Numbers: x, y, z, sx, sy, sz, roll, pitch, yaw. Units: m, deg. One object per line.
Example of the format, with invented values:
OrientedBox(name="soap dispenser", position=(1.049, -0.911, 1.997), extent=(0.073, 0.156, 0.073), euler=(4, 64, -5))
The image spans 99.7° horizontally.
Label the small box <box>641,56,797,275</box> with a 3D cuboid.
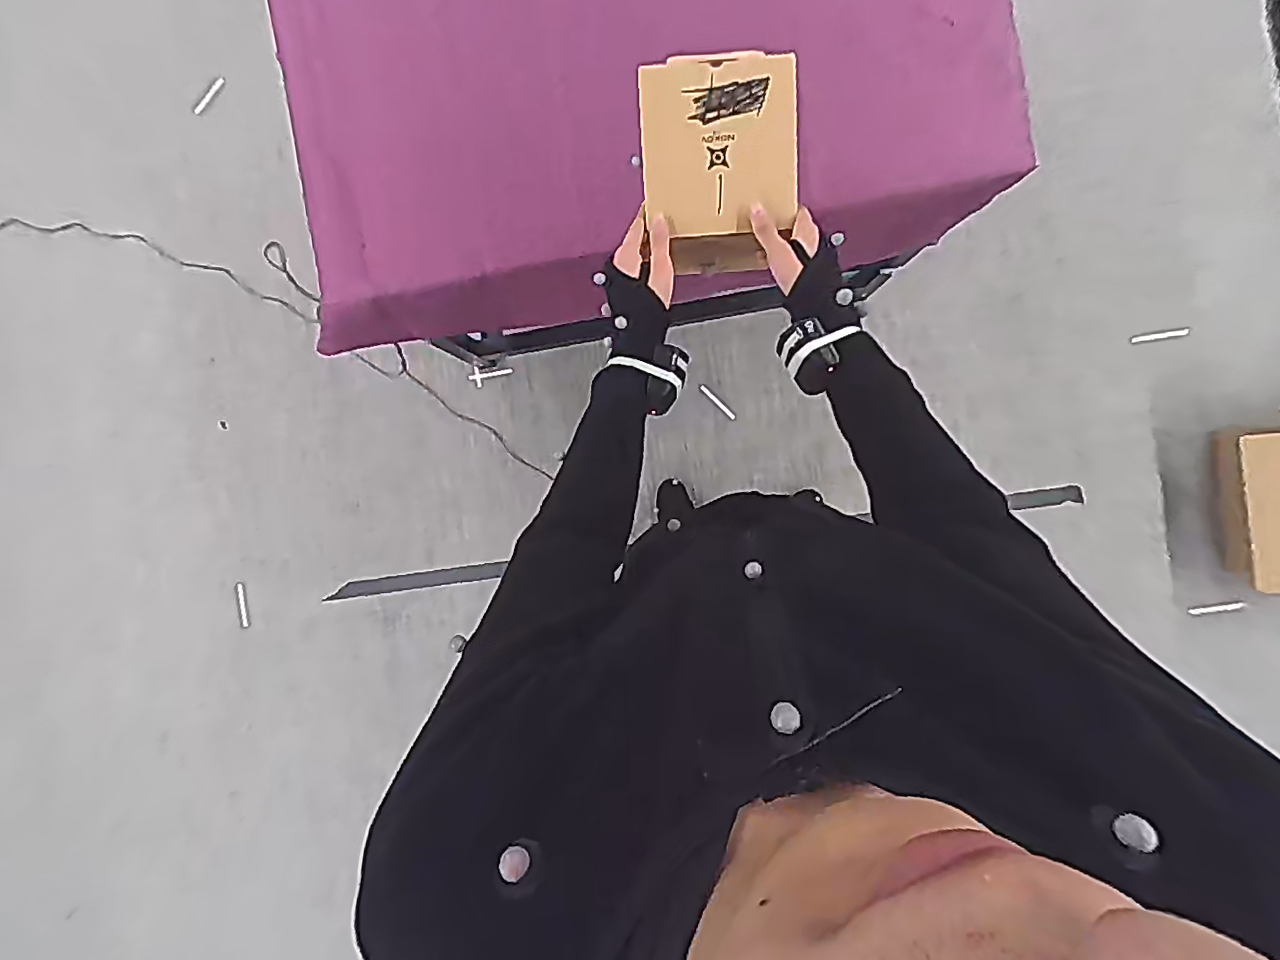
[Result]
OrientedBox(name="small box", position=(0.087, -0.364, 0.658), extent=(0.168, 0.176, 0.179), euler=(-3, 98, 3))
